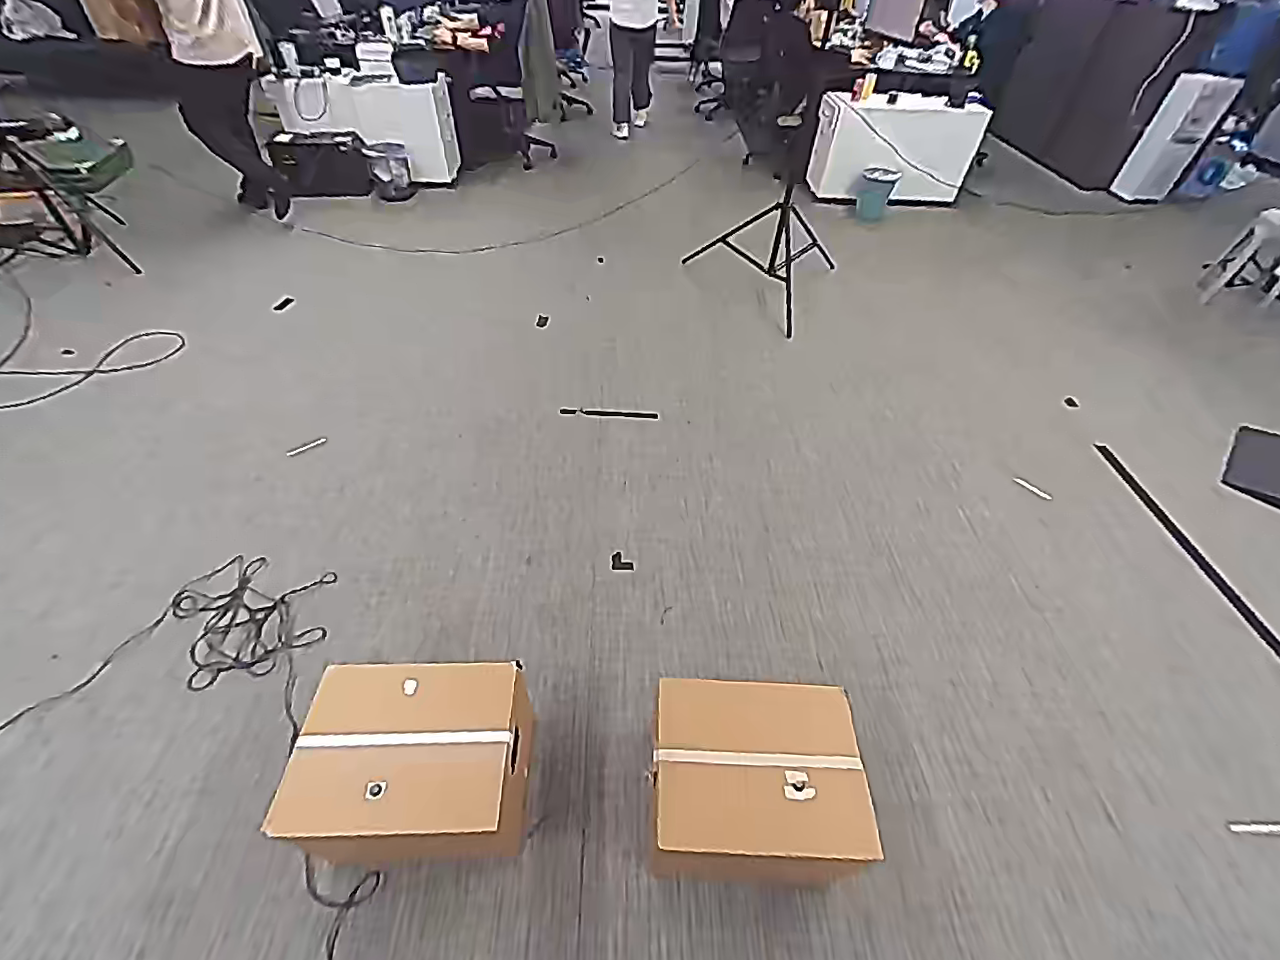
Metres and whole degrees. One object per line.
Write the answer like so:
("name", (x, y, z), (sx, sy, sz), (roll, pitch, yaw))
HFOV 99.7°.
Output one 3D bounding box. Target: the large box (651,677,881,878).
("large box", (0.232, 0.650, 1.176), (0.408, 0.320, 0.320), (4, 47, -1))
